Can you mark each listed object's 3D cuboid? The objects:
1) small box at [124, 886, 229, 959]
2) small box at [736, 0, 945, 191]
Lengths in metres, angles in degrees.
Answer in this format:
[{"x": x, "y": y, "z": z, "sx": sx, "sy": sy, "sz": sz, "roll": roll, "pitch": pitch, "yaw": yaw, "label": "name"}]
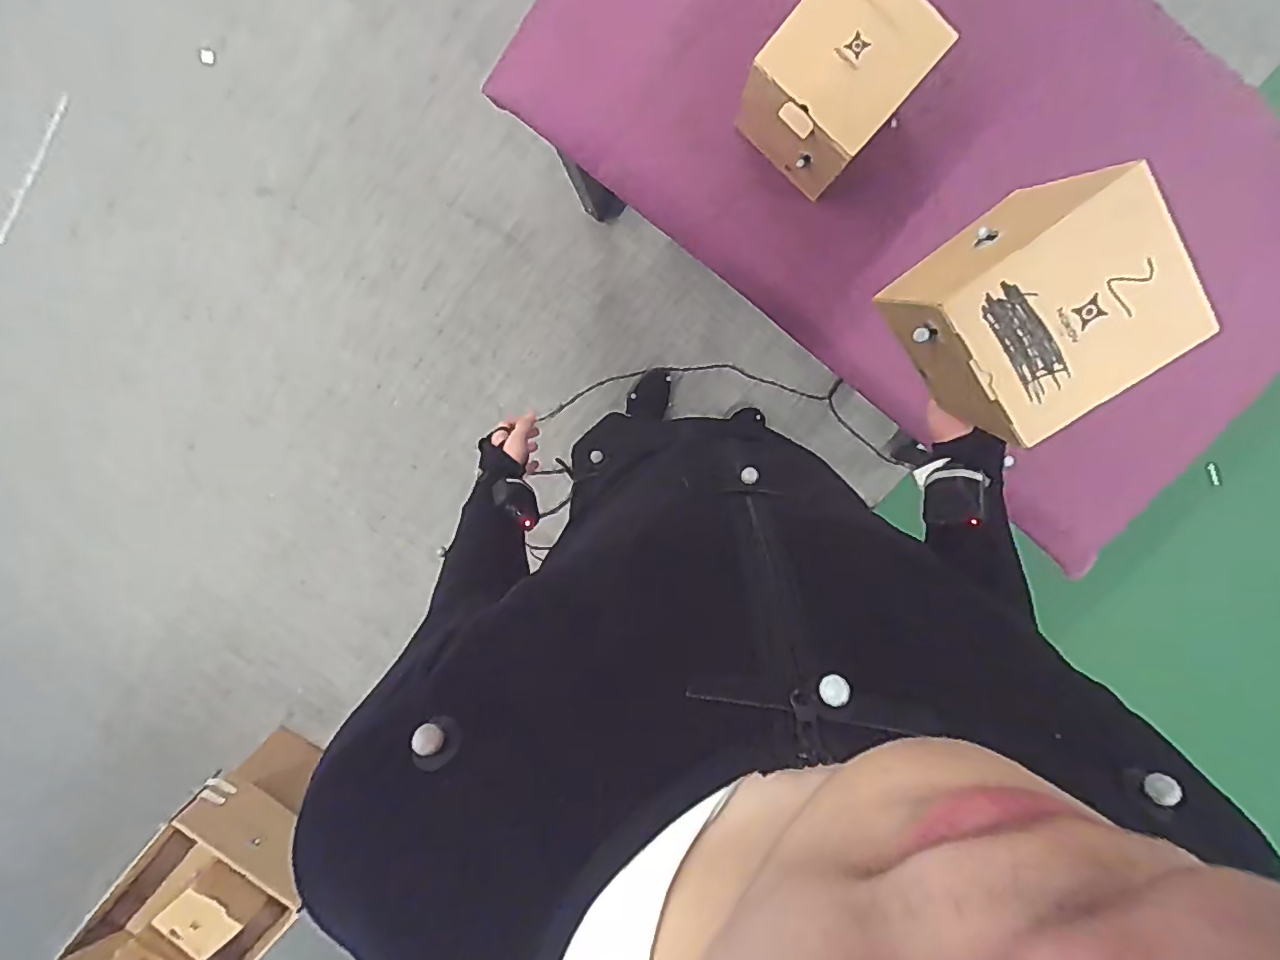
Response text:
[{"x": -1.247, "y": 1.238, "z": 1.426, "sx": 0.168, "sy": 0.176, "sz": 0.179, "roll": 40, "pitch": 98, "yaw": -6, "label": "small box"}, {"x": 0.243, "y": -0.523, "z": 0.713, "sx": 0.168, "sy": 0.176, "sz": 0.179, "roll": 41, "pitch": 99, "yaw": -7, "label": "small box"}]
